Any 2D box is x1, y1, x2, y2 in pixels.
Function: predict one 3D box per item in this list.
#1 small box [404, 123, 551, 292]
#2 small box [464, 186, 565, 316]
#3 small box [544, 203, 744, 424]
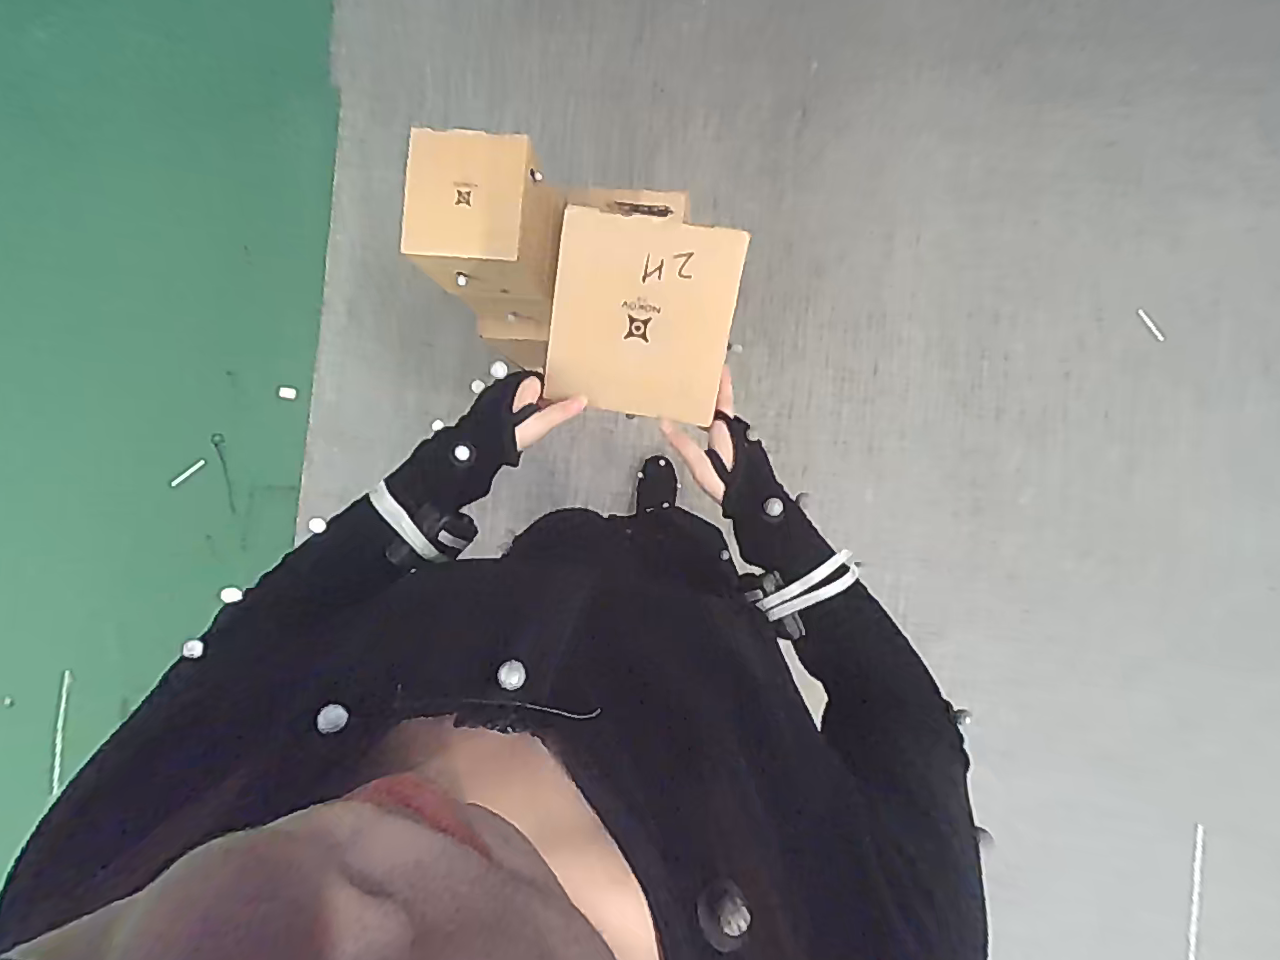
[{"bbox_3d":[-0.237,-0.401,0.825,0.168,0.176,0.179,5,91,2],"label":"small box"},{"bbox_3d":[-0.228,-0.416,0.987,0.168,0.176,0.179,6,92,2],"label":"small box"},{"bbox_3d":[0.009,-0.171,0.579,0.168,0.176,0.179,12,104,4],"label":"small box"}]
